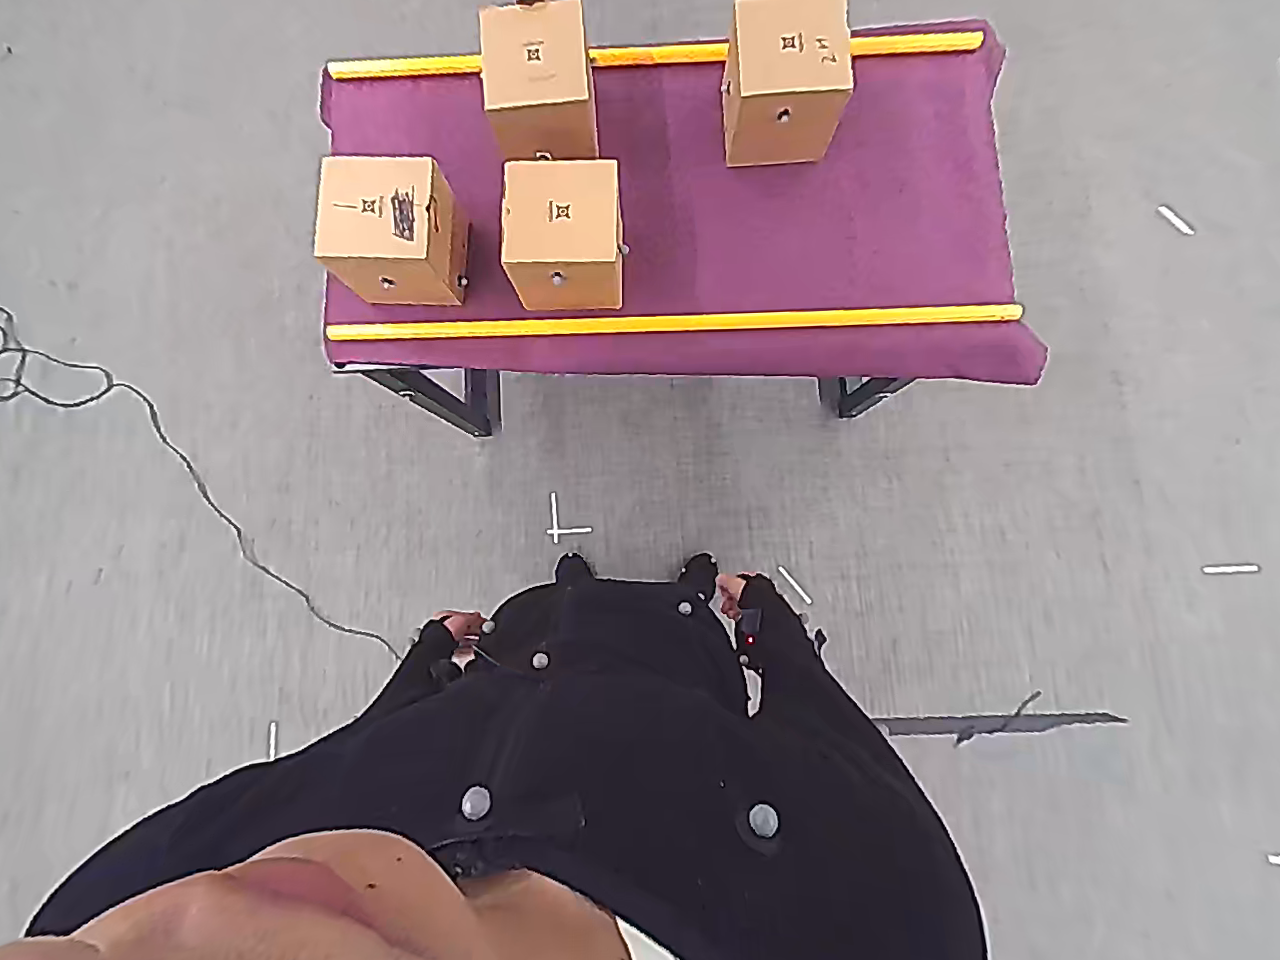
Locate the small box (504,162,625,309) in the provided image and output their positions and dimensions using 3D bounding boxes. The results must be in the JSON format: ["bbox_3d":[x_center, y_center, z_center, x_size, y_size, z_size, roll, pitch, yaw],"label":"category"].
[{"bbox_3d":[-0.115,-0.394,0.894,0.179,0.176,0.168,0,84,2],"label":"small box"}]

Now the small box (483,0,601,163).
[{"bbox_3d":[-0.161,-0.659,0.923,0.168,0.176,0.179,-5,85,2],"label":"small box"}]

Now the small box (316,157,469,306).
[{"bbox_3d":[-0.397,-0.403,0.900,0.179,0.176,0.168,2,84,2],"label":"small box"}]

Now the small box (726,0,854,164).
[{"bbox_3d":[0.241,-0.662,0.911,0.179,0.176,0.168,-2,85,1],"label":"small box"}]
